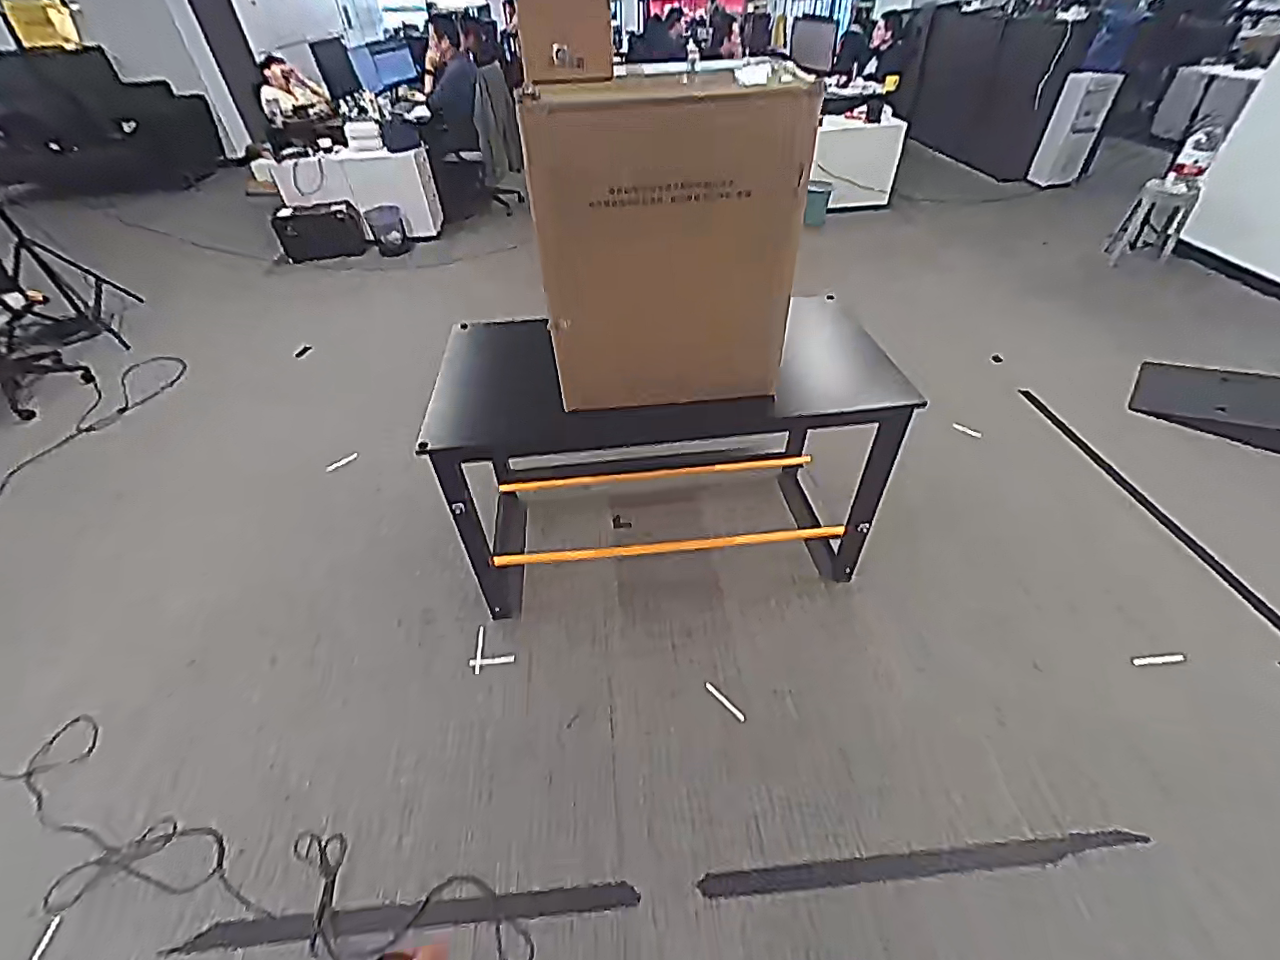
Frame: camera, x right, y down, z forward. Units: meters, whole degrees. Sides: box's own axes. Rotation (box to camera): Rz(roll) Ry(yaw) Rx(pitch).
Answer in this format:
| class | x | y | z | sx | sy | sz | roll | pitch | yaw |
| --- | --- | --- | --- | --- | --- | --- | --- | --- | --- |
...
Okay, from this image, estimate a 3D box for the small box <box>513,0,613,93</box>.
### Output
| class | x | y | z | sx | sy | sz | roll | pitch | yaw |
| --- | --- | --- | --- | --- | --- | --- | --- | --- | --- |
| small box | -0.145 | -0.834 | 1.006 | 0.168 | 0.176 | 0.179 | -8 | 43 | -5 |
